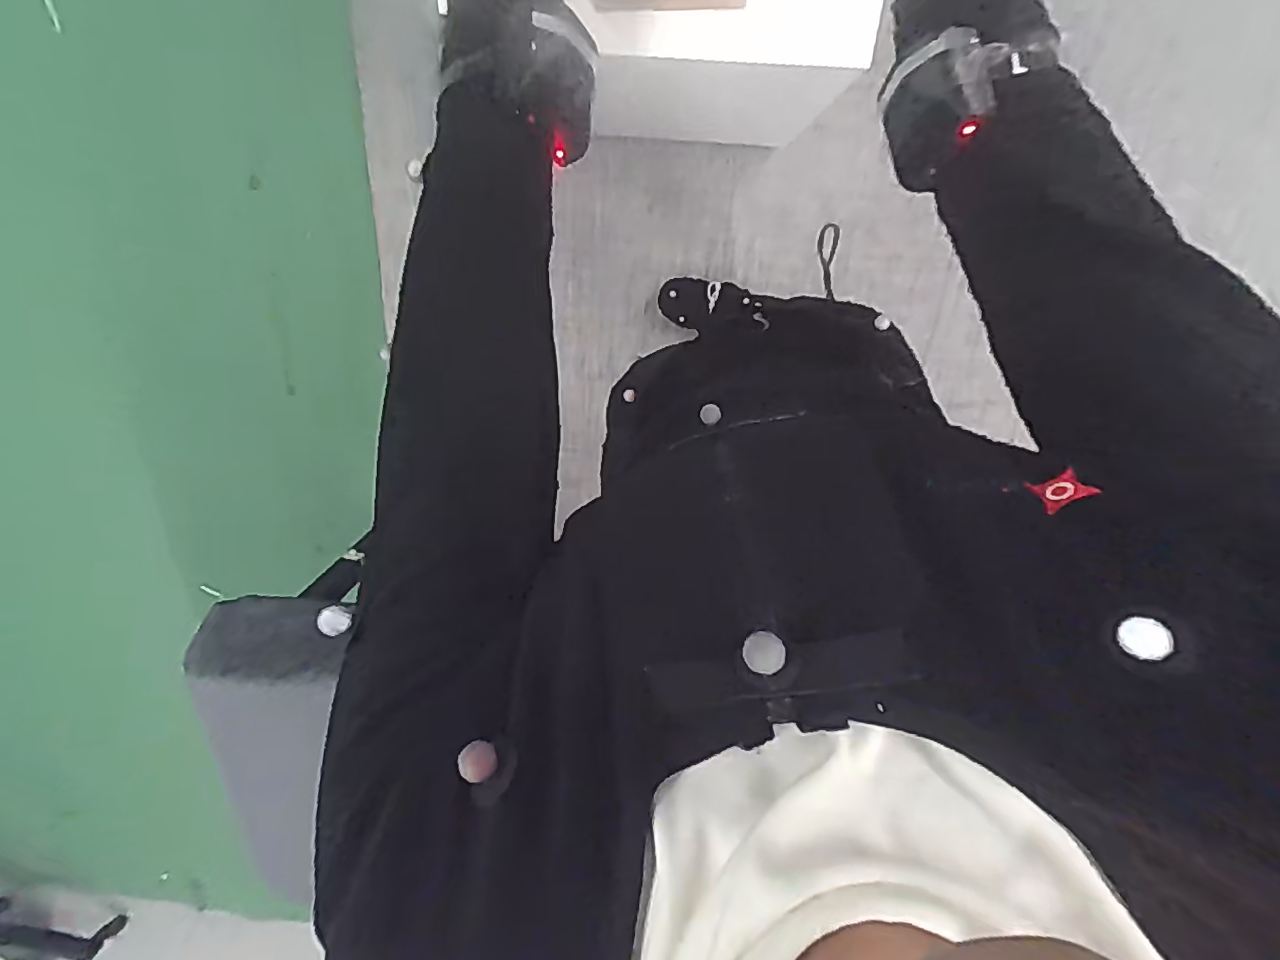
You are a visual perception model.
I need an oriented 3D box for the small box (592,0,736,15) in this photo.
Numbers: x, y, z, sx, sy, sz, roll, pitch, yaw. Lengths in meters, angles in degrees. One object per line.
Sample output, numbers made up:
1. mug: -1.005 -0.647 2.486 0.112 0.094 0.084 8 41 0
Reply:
1. small box: 0.027 -0.573 0.508 0.179 0.176 0.168 3 112 6
